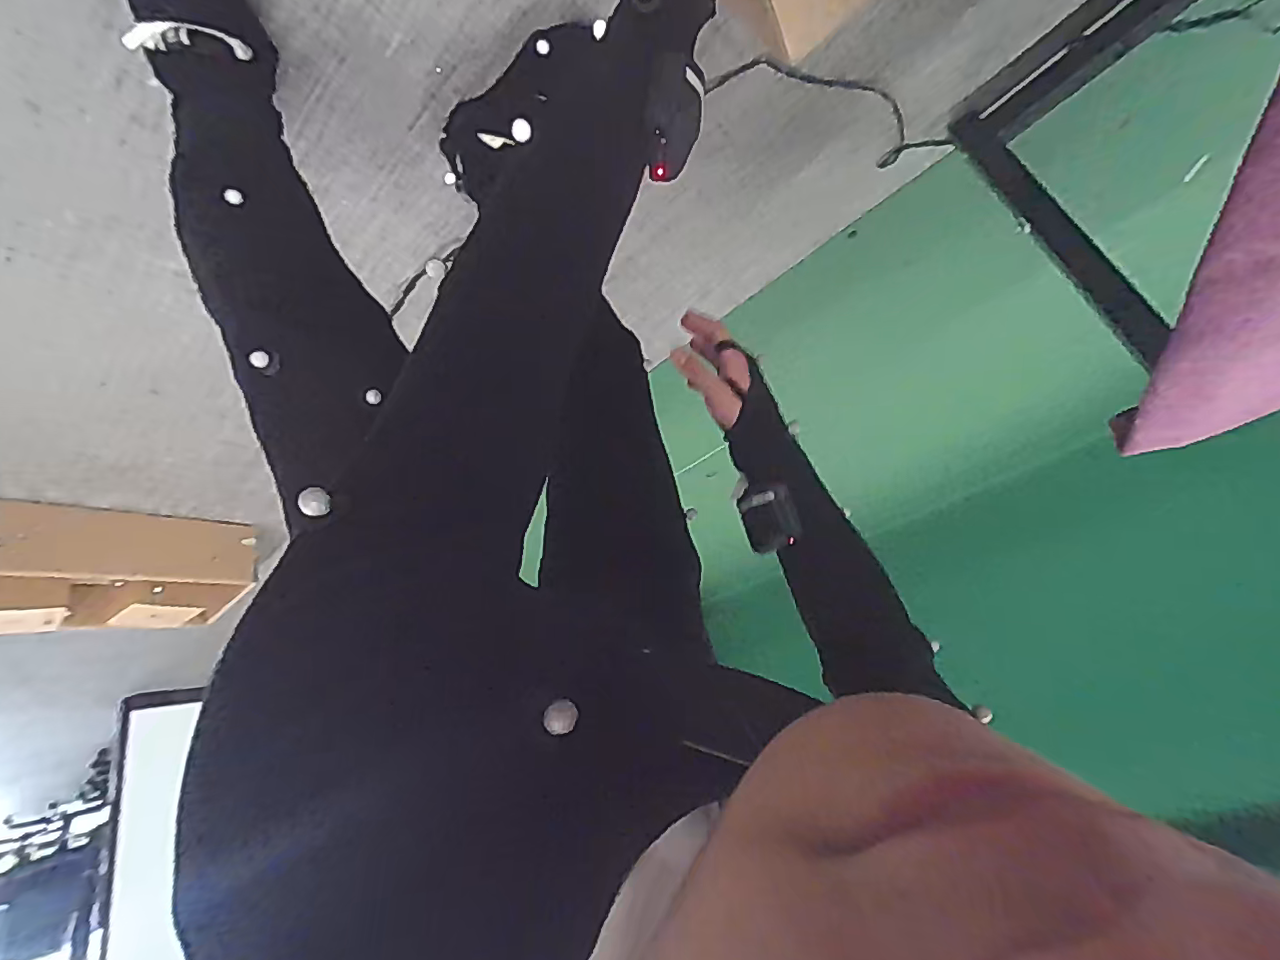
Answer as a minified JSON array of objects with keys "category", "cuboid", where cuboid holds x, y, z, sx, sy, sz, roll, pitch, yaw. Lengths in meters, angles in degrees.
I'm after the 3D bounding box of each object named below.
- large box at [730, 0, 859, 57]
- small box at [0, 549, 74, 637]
[{"category":"large box","cuboid":[0.159,-0.650,0.381,0.408,0.320,0.320,-35,151,20]},{"category":"small box","cuboid":[-1.563,0.282,1.351,0.168,0.176,0.179,-35,151,31]}]
